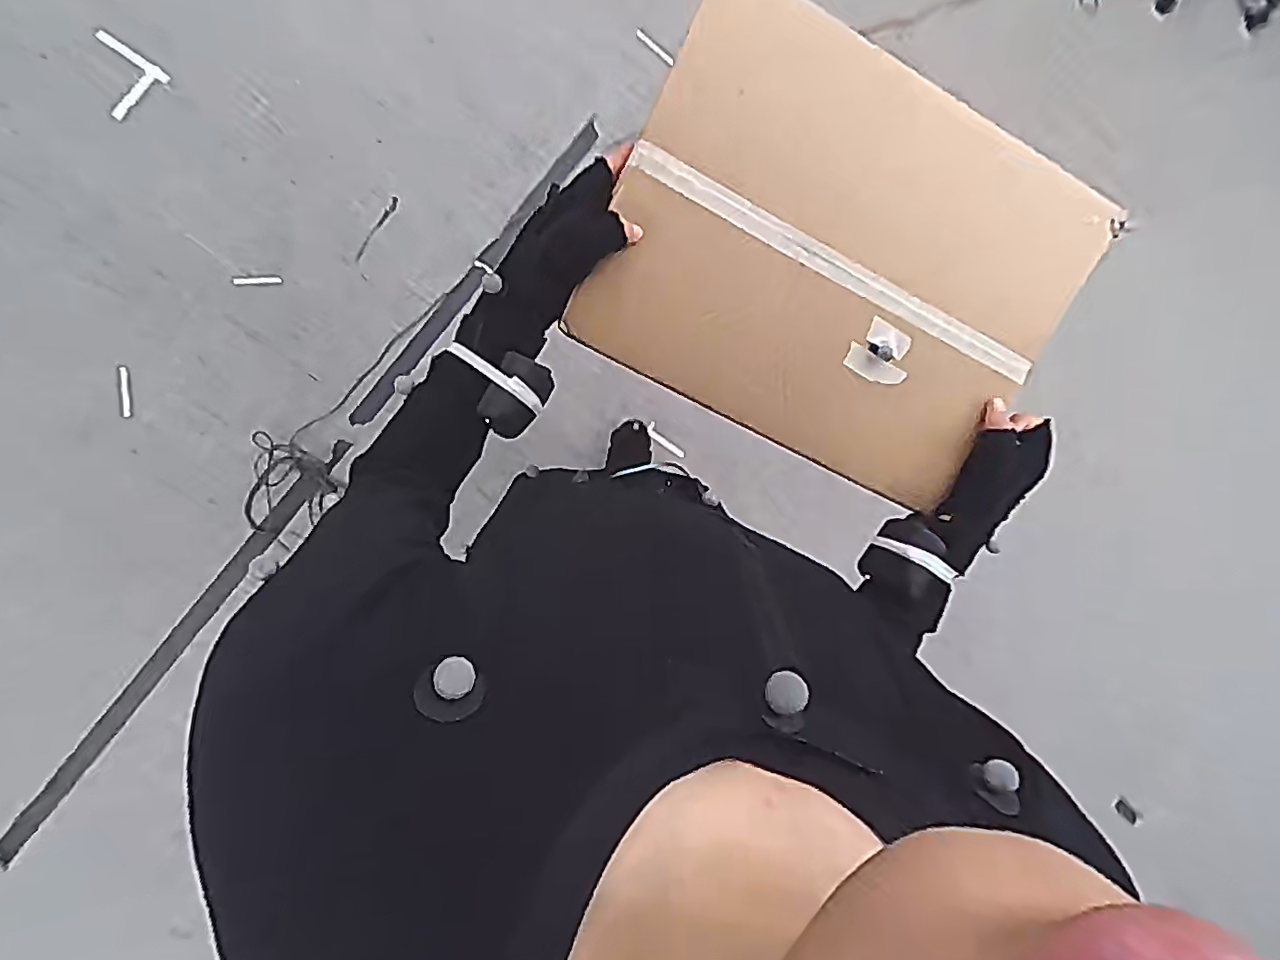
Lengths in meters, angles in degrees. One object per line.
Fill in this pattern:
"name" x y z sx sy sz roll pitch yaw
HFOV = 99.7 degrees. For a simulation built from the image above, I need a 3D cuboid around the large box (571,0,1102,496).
"large box" 0.166 -0.231 0.628 0.408 0.320 0.320 25 102 -10
